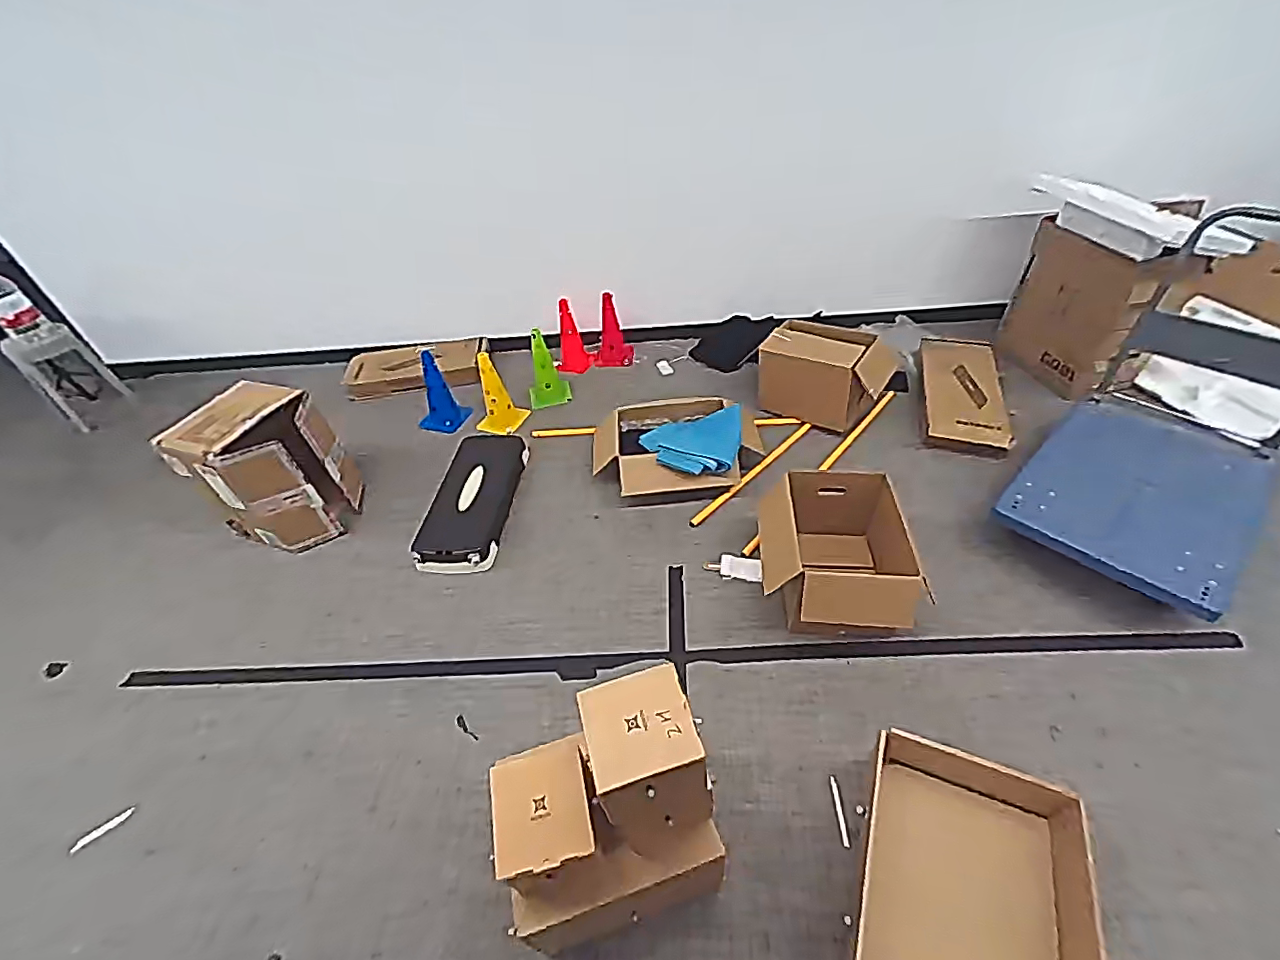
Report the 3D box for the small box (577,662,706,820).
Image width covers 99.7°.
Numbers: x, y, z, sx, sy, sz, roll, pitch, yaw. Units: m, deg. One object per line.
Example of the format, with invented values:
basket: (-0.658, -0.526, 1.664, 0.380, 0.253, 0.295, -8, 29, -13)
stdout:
small box: (0.006, 0.444, 0.916, 0.179, 0.176, 0.168, -15, 44, -8)
